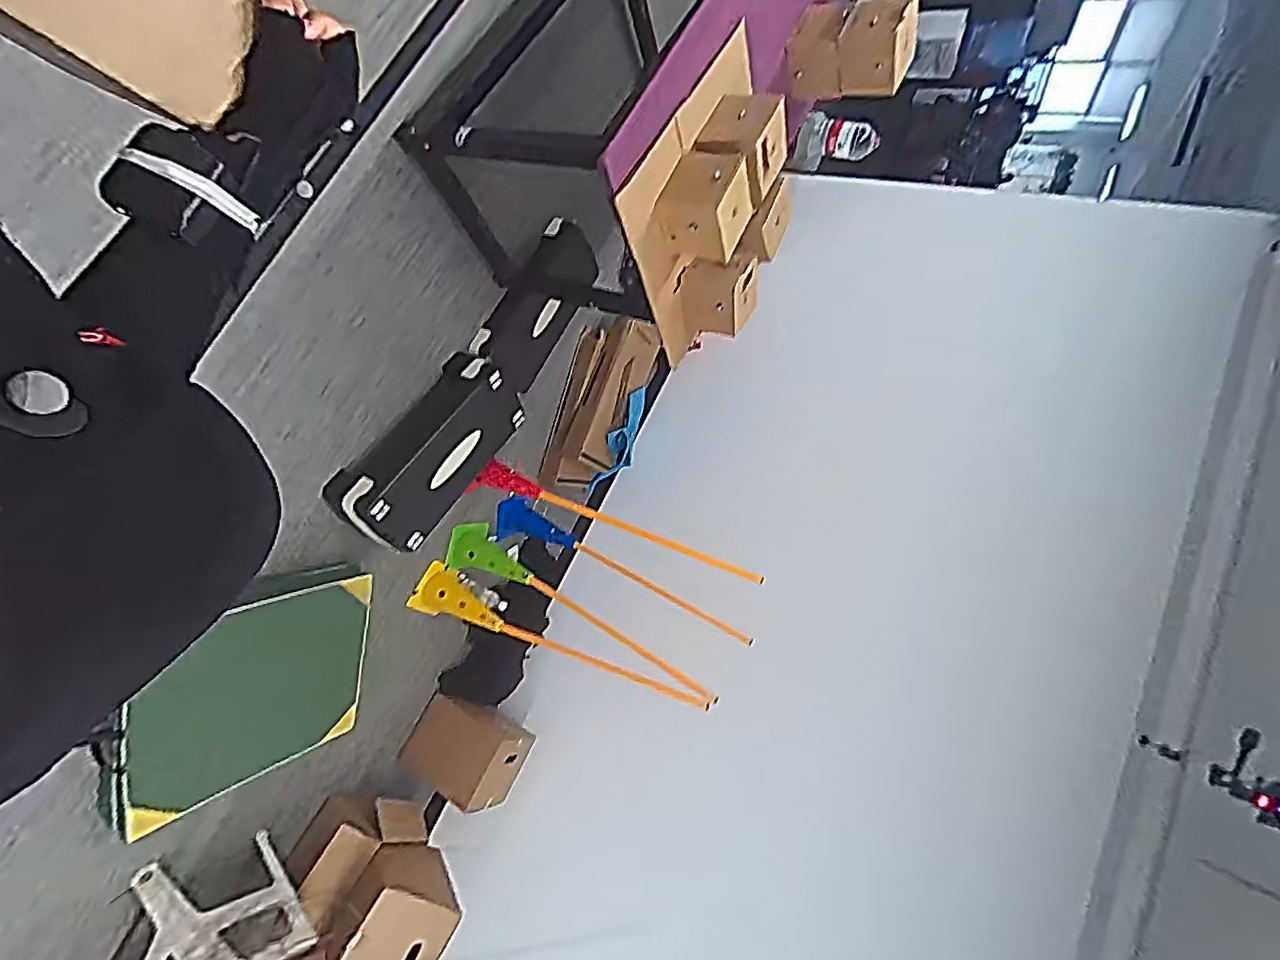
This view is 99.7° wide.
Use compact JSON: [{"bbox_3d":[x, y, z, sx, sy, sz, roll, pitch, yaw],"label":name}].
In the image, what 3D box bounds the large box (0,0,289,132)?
[{"bbox_3d":[-0.444,-0.490,0.285,0.320,0.320,0.408,-60,156,6],"label":"large box"}]
